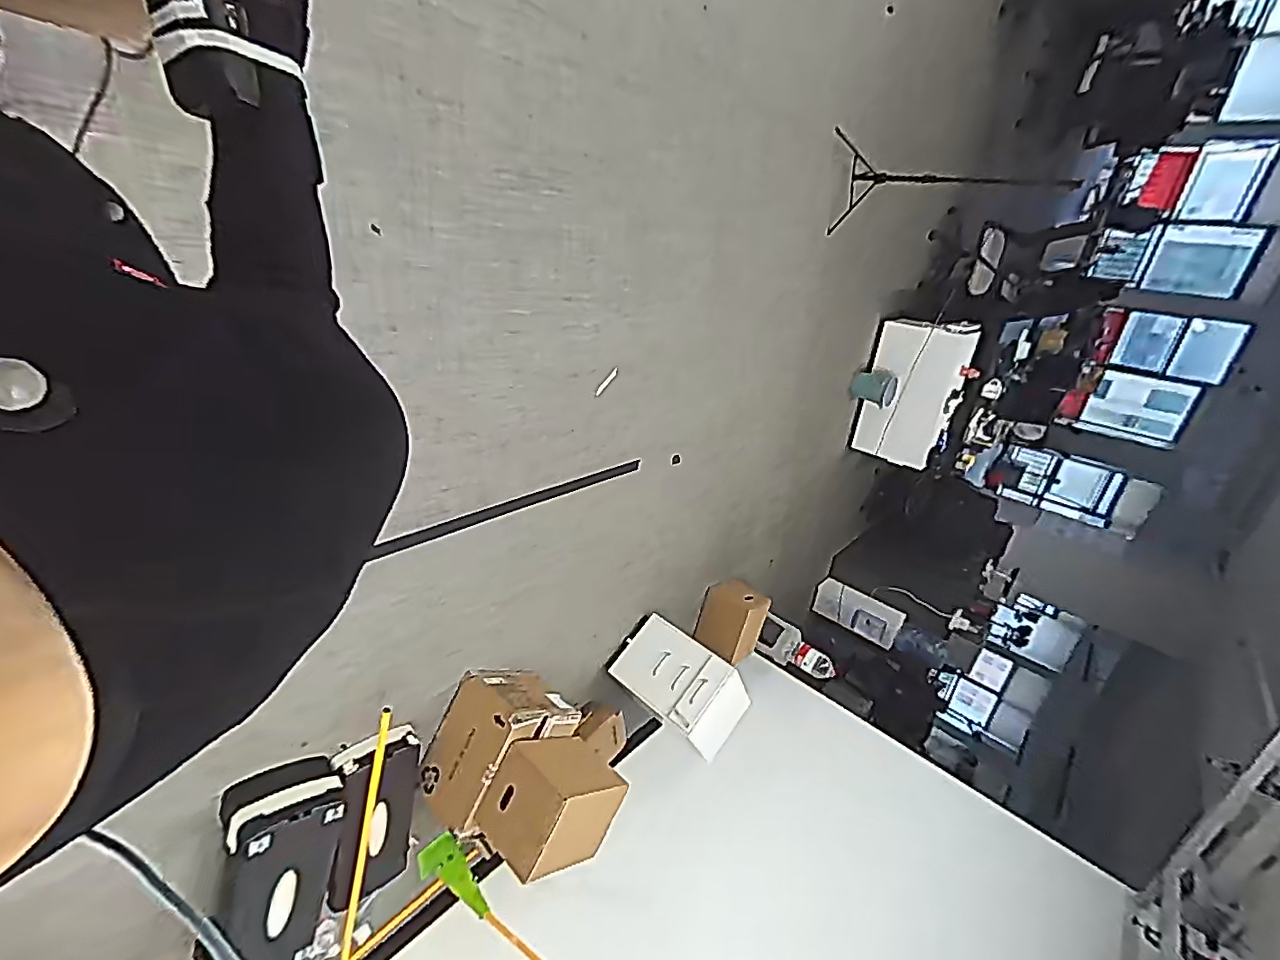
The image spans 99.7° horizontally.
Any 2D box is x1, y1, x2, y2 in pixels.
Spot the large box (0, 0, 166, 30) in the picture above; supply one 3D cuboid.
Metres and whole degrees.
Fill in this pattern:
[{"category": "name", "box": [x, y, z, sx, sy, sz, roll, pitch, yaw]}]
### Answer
[{"category": "large box", "box": [-0.524, -0.489, 0.259, 0.408, 0.320, 0.320, -19, 126, -46]}]
